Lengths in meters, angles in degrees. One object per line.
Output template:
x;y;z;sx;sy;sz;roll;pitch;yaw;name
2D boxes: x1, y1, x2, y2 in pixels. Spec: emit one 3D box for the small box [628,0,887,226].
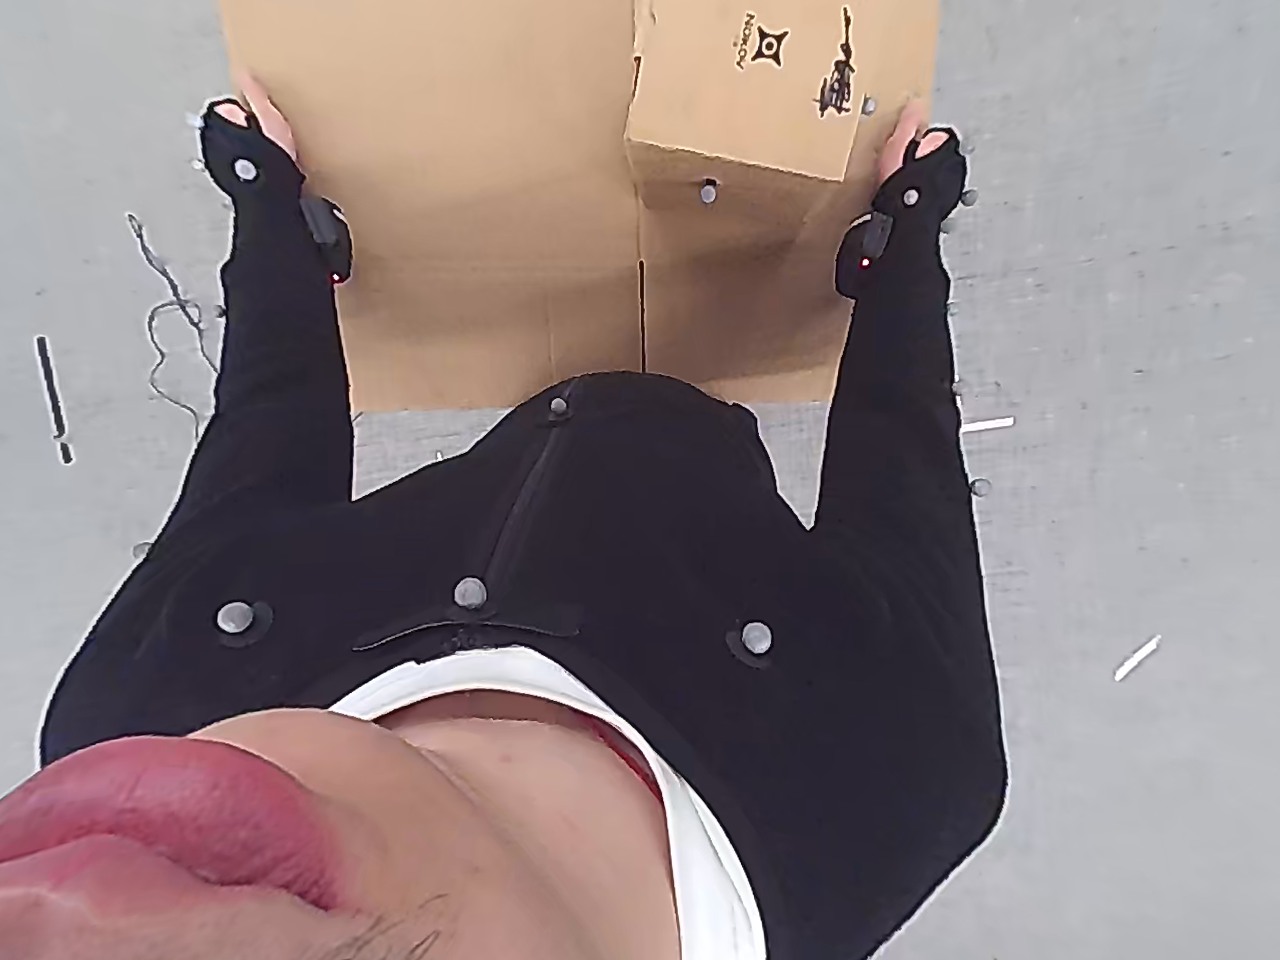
0.099;-0.348;0.491;0.179;0.176;0.168;13;103;3;small box
